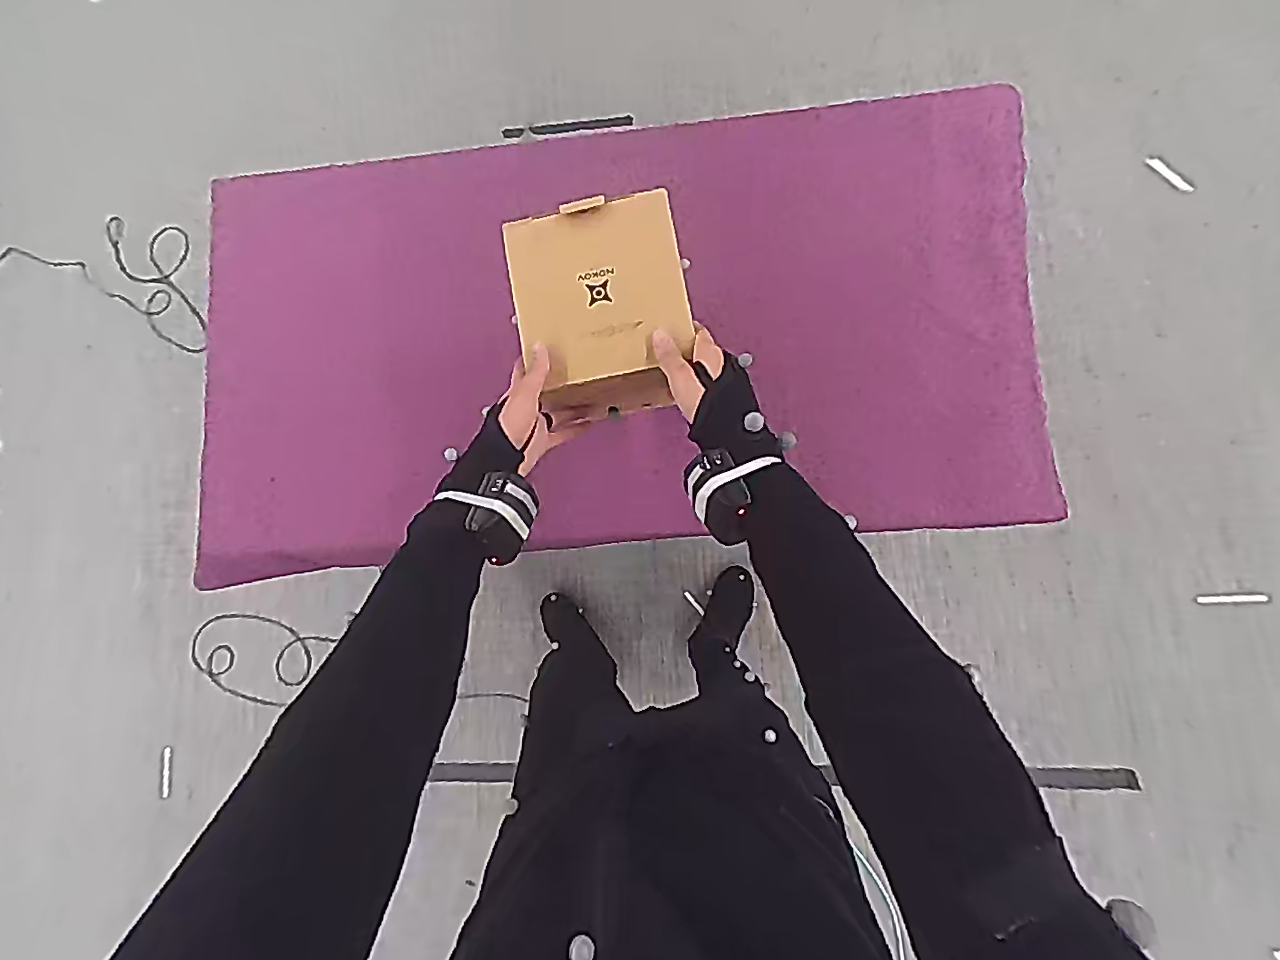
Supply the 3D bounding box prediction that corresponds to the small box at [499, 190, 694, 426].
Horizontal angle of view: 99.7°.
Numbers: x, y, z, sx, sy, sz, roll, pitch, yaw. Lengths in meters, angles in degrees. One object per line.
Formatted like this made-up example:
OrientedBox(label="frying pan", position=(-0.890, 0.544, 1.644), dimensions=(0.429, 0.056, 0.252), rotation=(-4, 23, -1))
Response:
OrientedBox(label="small box", position=(-0.039, -0.170, 0.586), dimensions=(0.168, 0.176, 0.179), rotation=(-10, 84, 4))
